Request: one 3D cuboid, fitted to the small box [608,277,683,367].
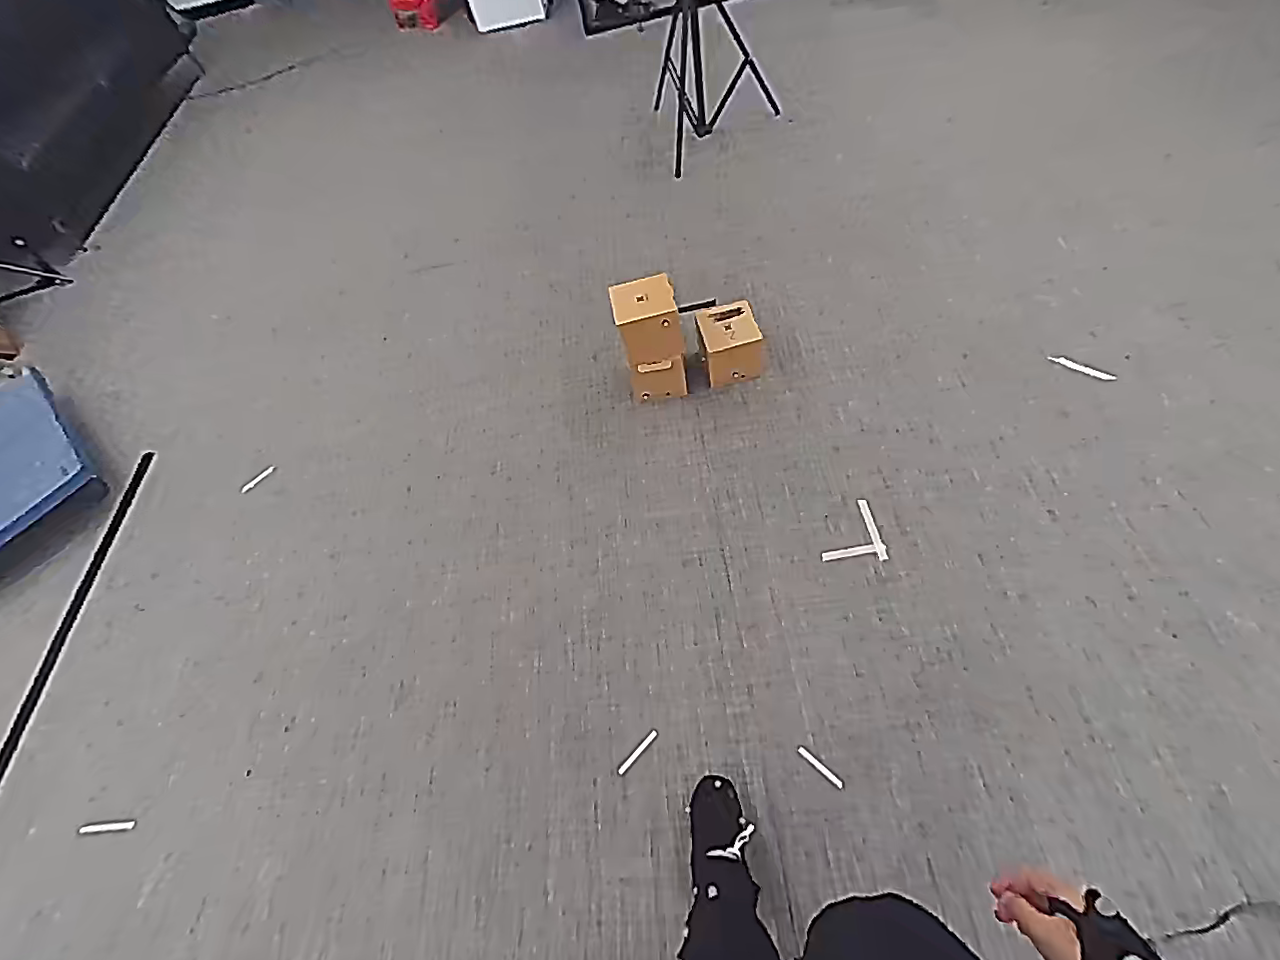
[{"bbox_3d":[0.019,-0.453,1.578,0.179,0.176,0.168,-14,57,3],"label":"small box"}]

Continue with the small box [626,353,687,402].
[{"bbox_3d":[0.052,-0.364,1.710,0.168,0.176,0.179,-8,57,8],"label":"small box"}]
